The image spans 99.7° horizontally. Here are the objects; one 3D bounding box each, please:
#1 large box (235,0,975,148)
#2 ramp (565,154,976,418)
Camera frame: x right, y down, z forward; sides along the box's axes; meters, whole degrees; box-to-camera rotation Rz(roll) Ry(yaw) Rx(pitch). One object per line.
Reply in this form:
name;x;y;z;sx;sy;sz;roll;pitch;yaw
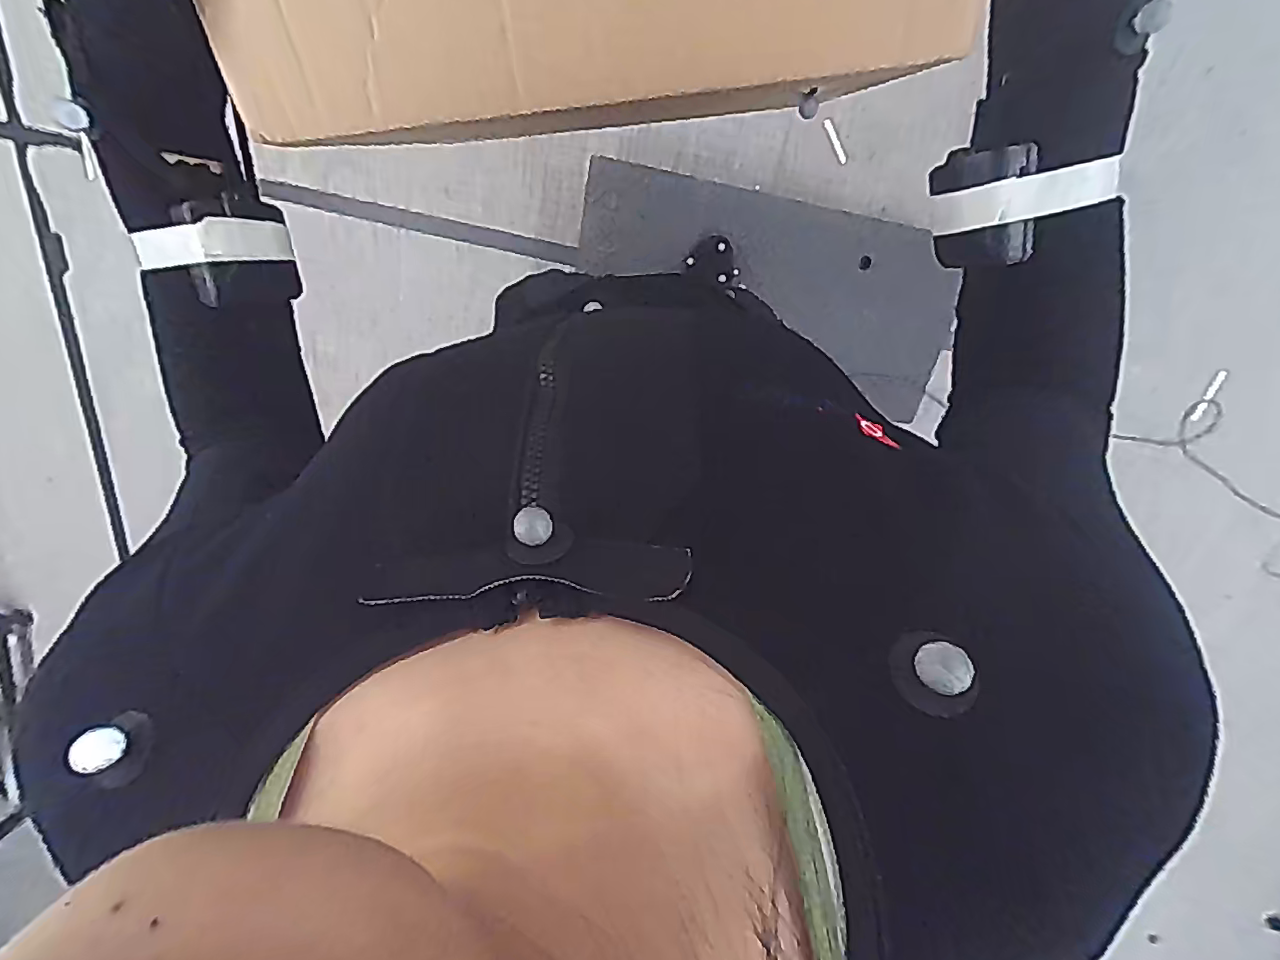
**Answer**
large box;-0.024;-0.426;0.358;0.408;0.320;0.320;-2;121;7
ramp;0.330;-0.463;1.395;0.991;0.206;0.509;10;113;1
